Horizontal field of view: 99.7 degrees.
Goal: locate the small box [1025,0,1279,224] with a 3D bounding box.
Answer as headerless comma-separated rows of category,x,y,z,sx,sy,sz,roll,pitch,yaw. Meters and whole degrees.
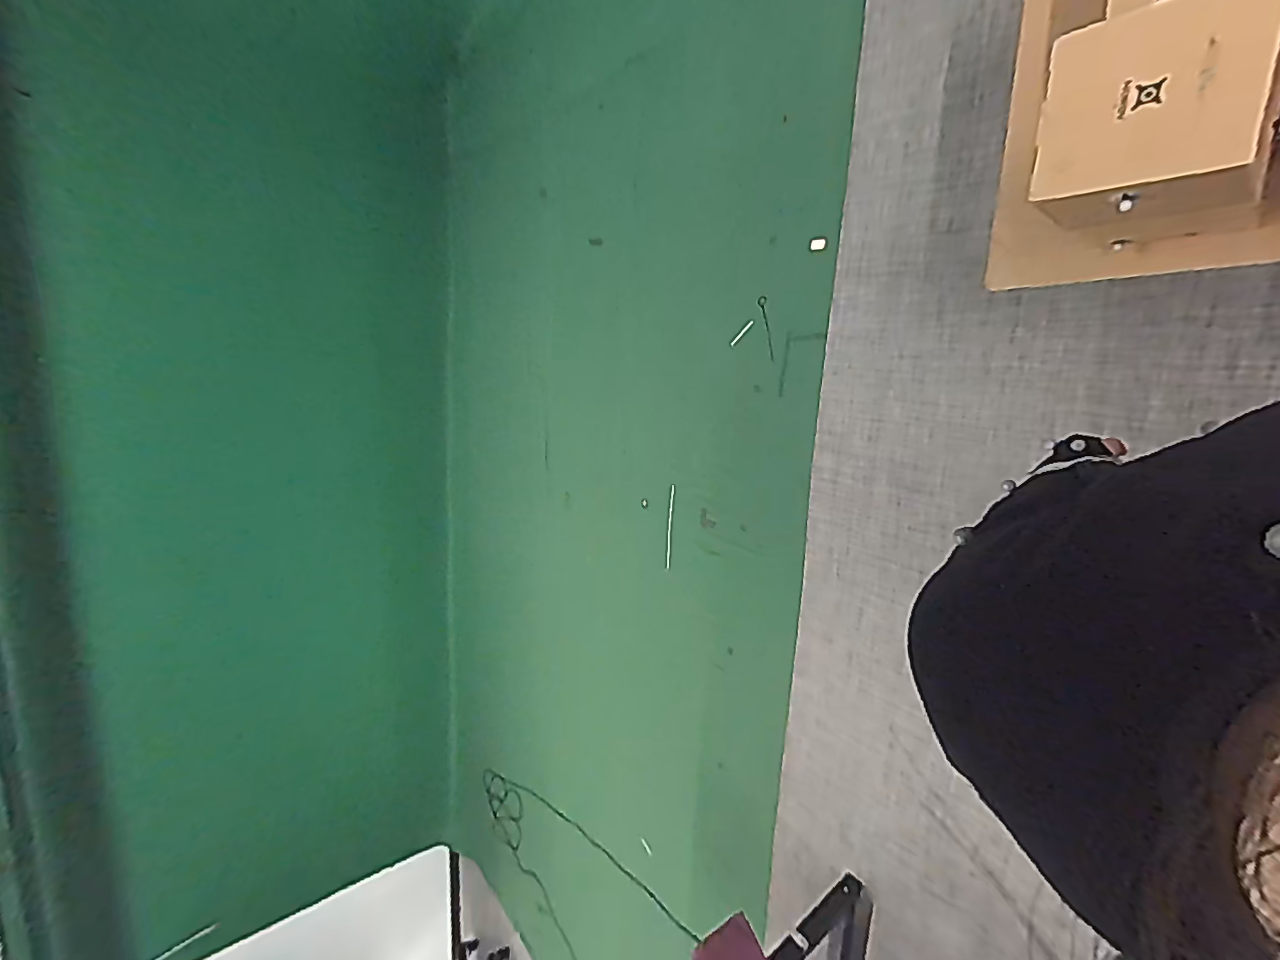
small box,0.560,-0.391,0.586,0.179,0.176,0.168,17,109,48
